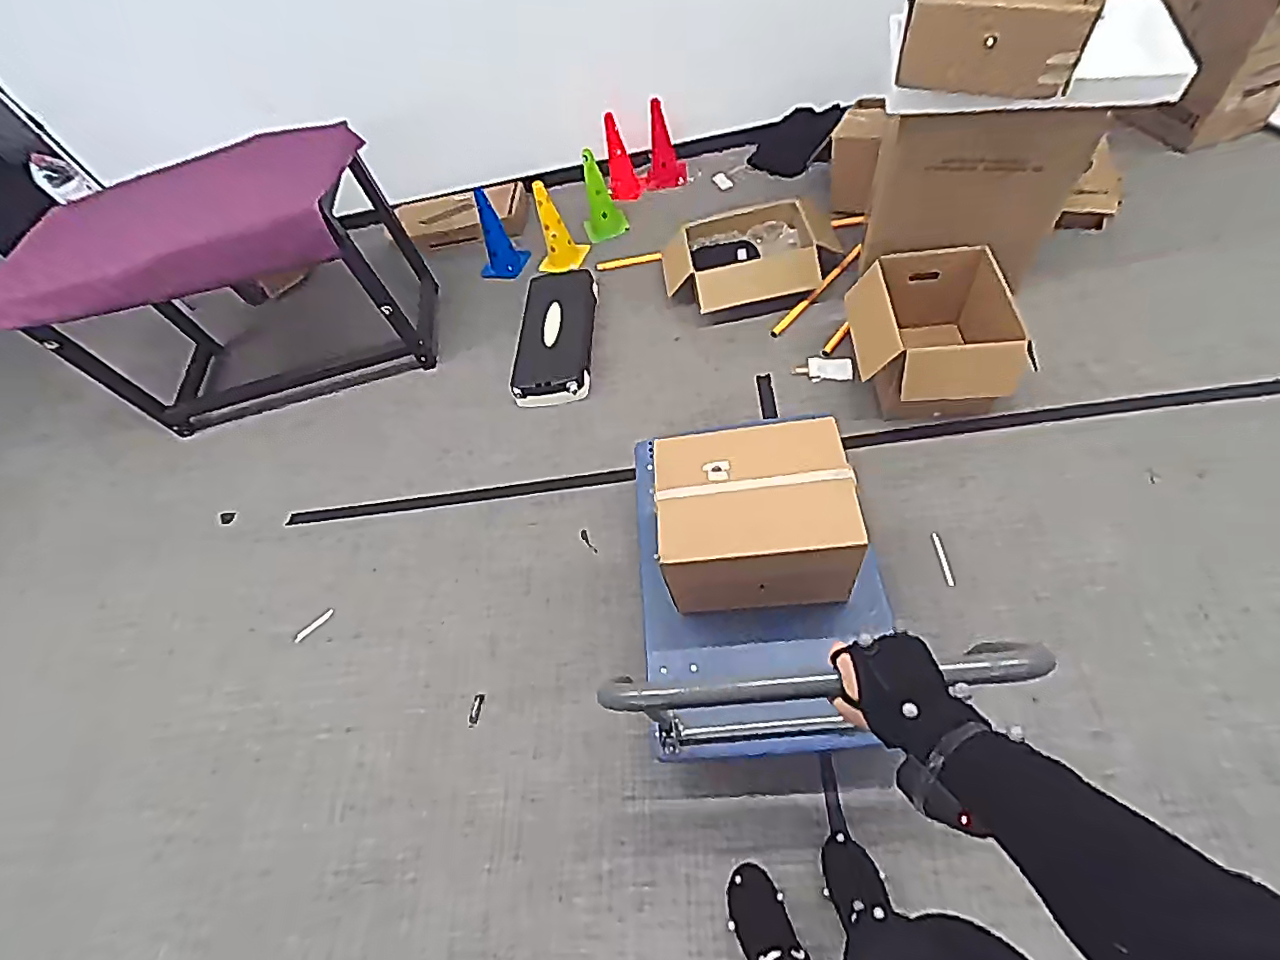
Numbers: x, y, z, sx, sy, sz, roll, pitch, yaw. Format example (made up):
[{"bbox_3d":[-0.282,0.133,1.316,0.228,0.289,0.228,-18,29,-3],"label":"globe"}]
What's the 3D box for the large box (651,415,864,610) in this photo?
[{"bbox_3d":[0.256,0.090,1.248,0.408,0.320,0.320,-8,56,9],"label":"large box"}]
